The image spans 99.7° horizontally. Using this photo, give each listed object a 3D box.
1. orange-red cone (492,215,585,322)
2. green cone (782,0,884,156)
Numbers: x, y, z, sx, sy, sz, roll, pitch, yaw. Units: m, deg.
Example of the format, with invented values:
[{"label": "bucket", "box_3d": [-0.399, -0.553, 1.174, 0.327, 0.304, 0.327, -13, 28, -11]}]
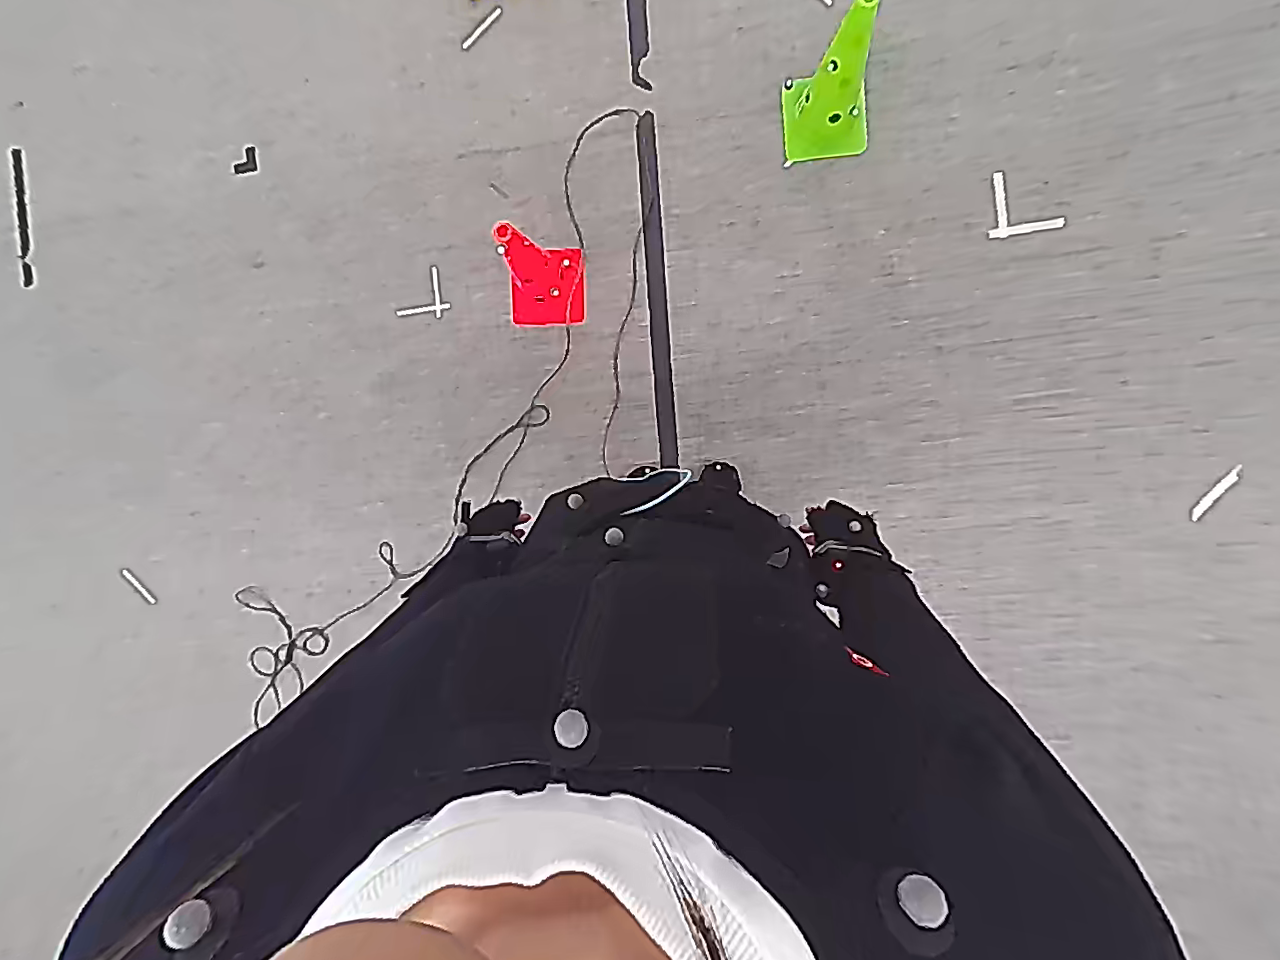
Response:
[{"label": "orange-red cone", "box_3d": [-0.263, -0.517, 1.262, 0.199, 0.360, 0.198, 0, 91, 7]}, {"label": "green cone", "box_3d": [0.446, -0.907, 1.172, 0.202, 0.368, 0.200, -4, 92, 5]}]
